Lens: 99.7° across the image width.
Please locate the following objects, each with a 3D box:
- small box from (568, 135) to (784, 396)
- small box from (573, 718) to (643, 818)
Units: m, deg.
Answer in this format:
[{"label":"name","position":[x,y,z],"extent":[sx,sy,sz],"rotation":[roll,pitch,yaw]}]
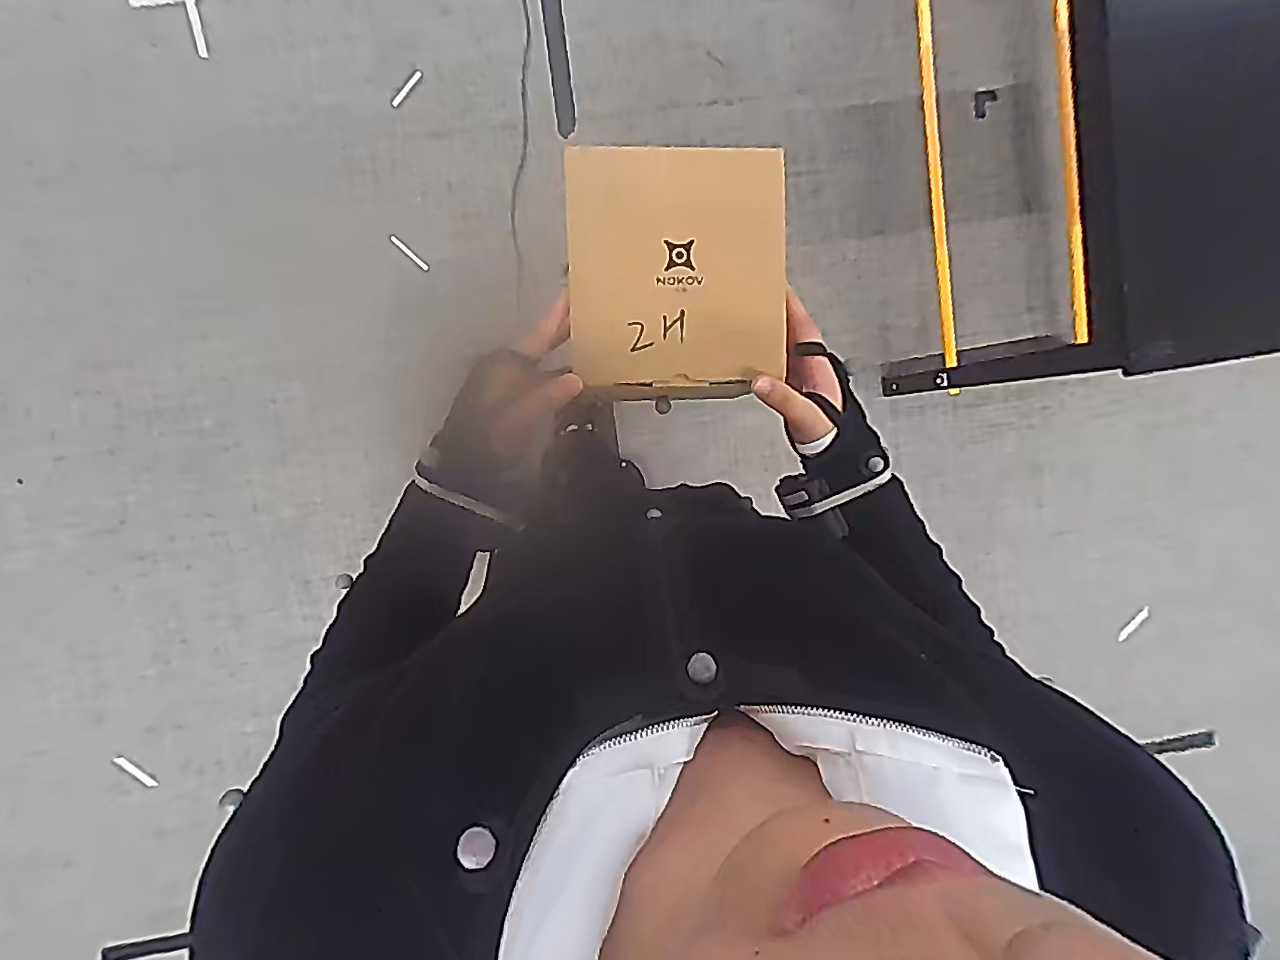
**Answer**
[{"label":"small box","position":[0.022,-0.172,0.485],"extent":[0.168,0.176,0.179],"rotation":[-2,94,-4]},{"label":"small box","position":[-0.088,0.775,1.479],"extent":[0.168,0.176,0.179],"rotation":[-9,95,-3]}]
